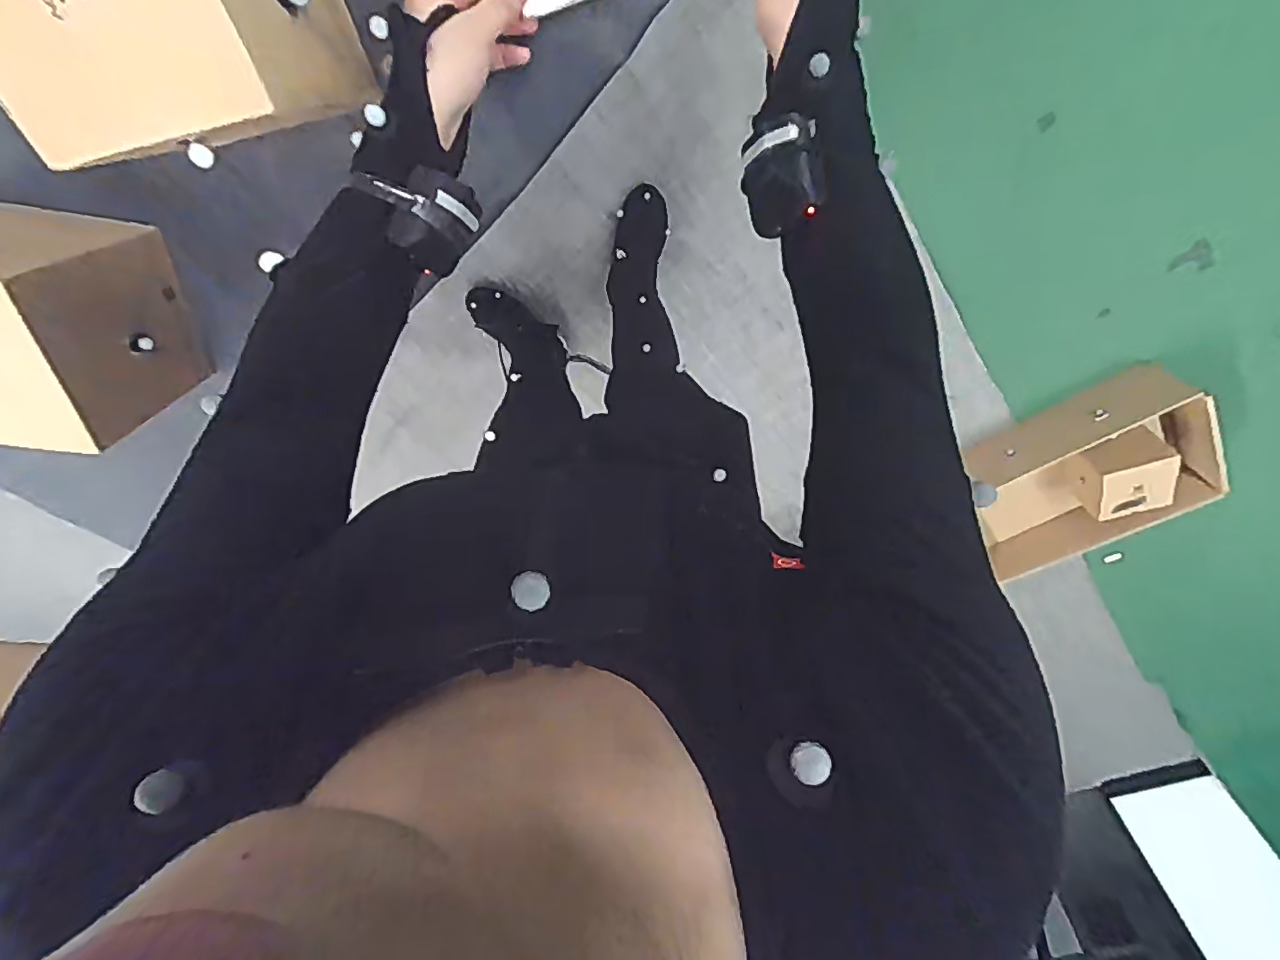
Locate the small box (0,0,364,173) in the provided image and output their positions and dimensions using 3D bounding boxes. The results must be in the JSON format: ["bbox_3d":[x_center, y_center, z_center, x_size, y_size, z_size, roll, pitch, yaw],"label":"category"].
[{"bbox_3d":[-0.318,-0.328,0.360,0.179,0.176,0.168,-8,128,9],"label":"small box"}]

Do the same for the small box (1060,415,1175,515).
[{"bbox_3d":[1.252,-0.042,1.435,0.168,0.176,0.179,-18,127,16],"label":"small box"}]

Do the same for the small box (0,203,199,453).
[{"bbox_3d":[-0.570,-0.148,0.511,0.179,0.176,0.168,7,128,-4],"label":"small box"}]
